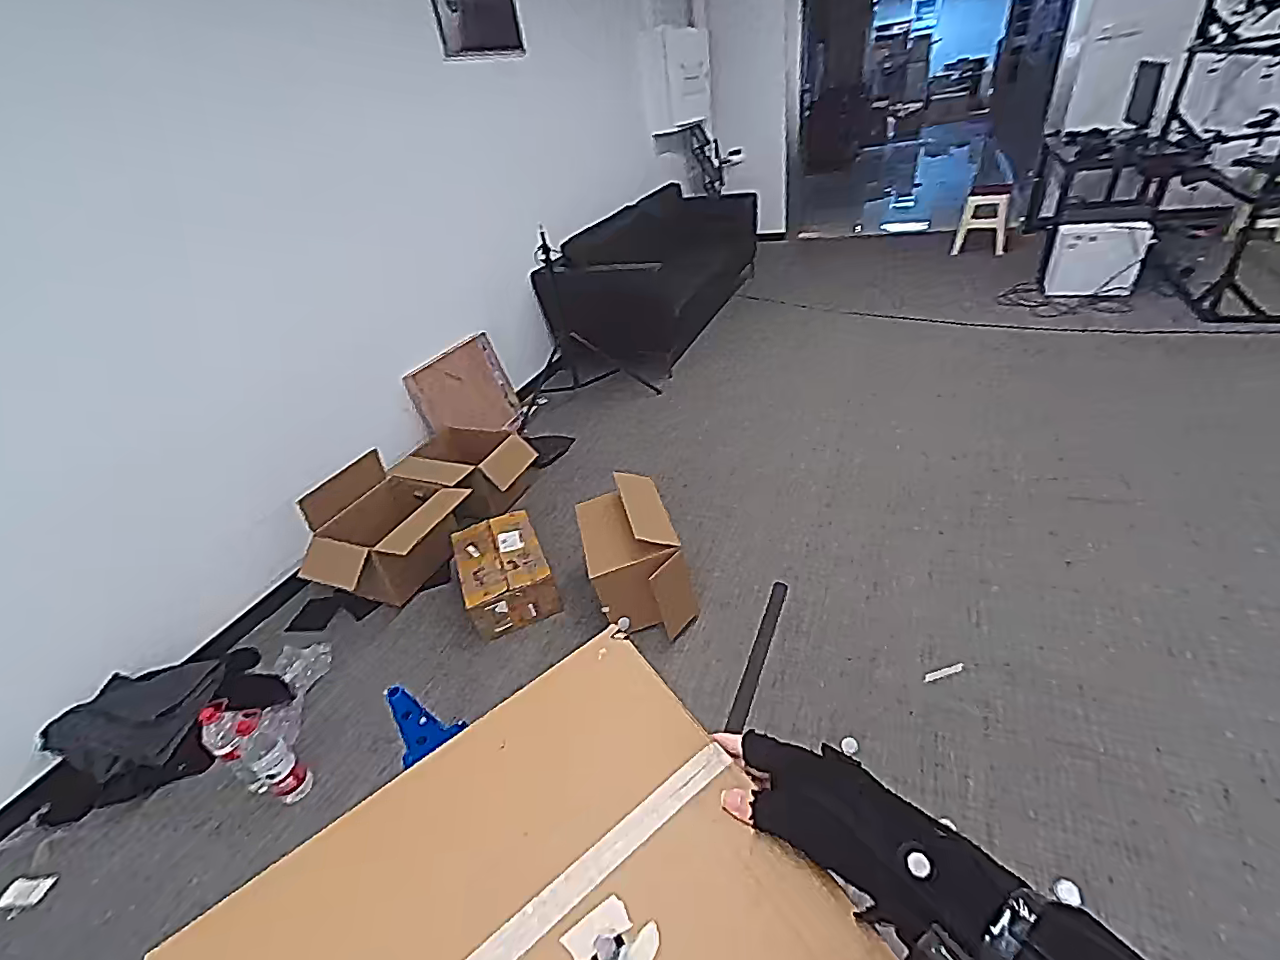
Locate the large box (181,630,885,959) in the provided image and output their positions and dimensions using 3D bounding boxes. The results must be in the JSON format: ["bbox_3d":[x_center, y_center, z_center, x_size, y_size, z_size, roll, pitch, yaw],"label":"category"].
[{"bbox_3d":[-0.067,0.424,0.459,0.408,0.320,0.320,-30,44,-21],"label":"large box"}]
